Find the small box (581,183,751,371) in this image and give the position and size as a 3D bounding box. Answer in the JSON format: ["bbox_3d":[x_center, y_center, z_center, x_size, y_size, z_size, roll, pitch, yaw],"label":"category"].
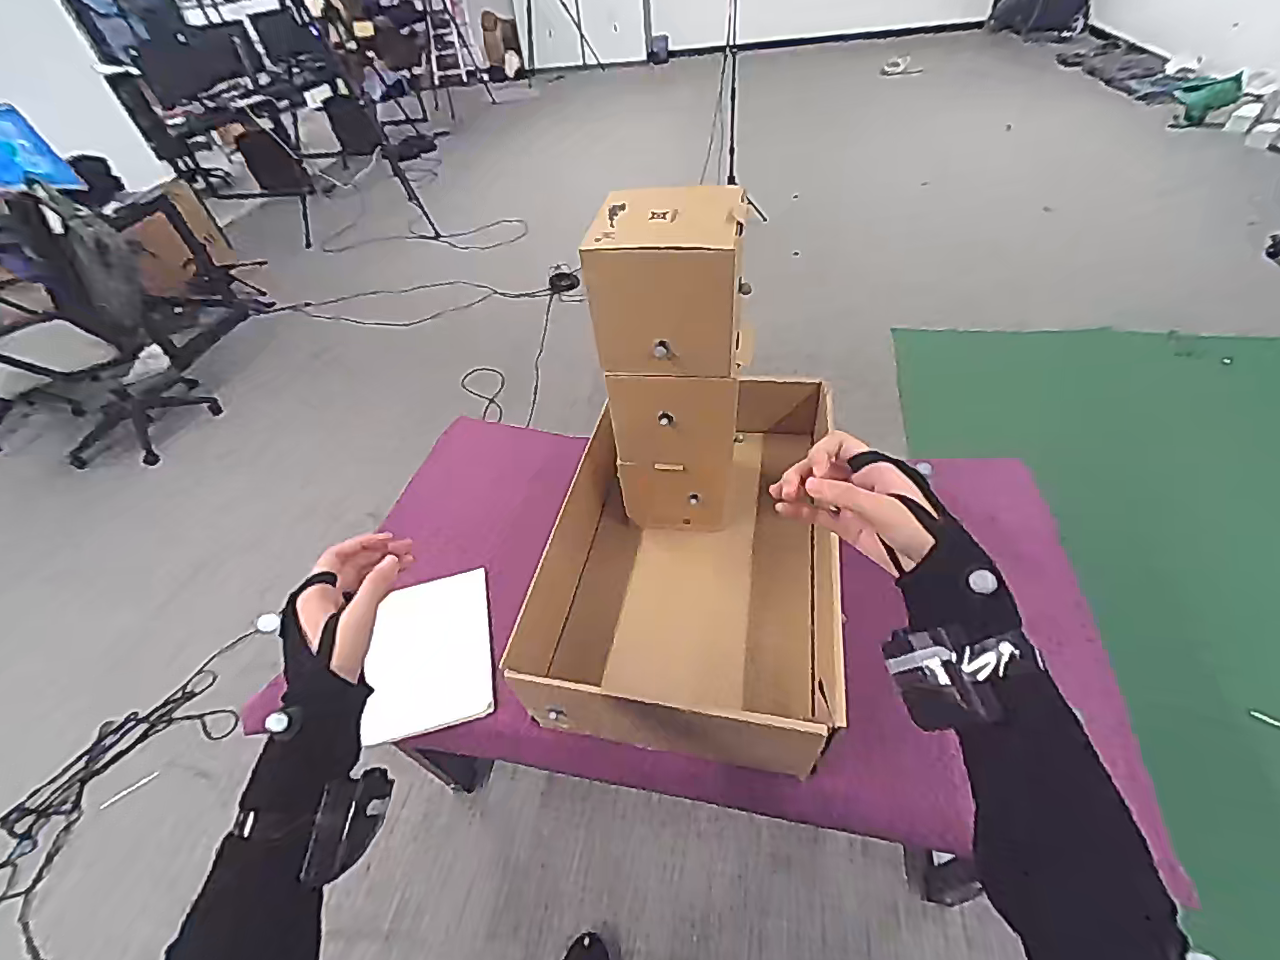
[{"bbox_3d":[0.041,-0.256,0.689,0.179,0.176,0.168,6,48,11],"label":"small box"}]

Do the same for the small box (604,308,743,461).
[{"bbox_3d":[0.057,-0.143,0.807,0.179,0.176,0.168,3,48,10],"label":"small box"}]
